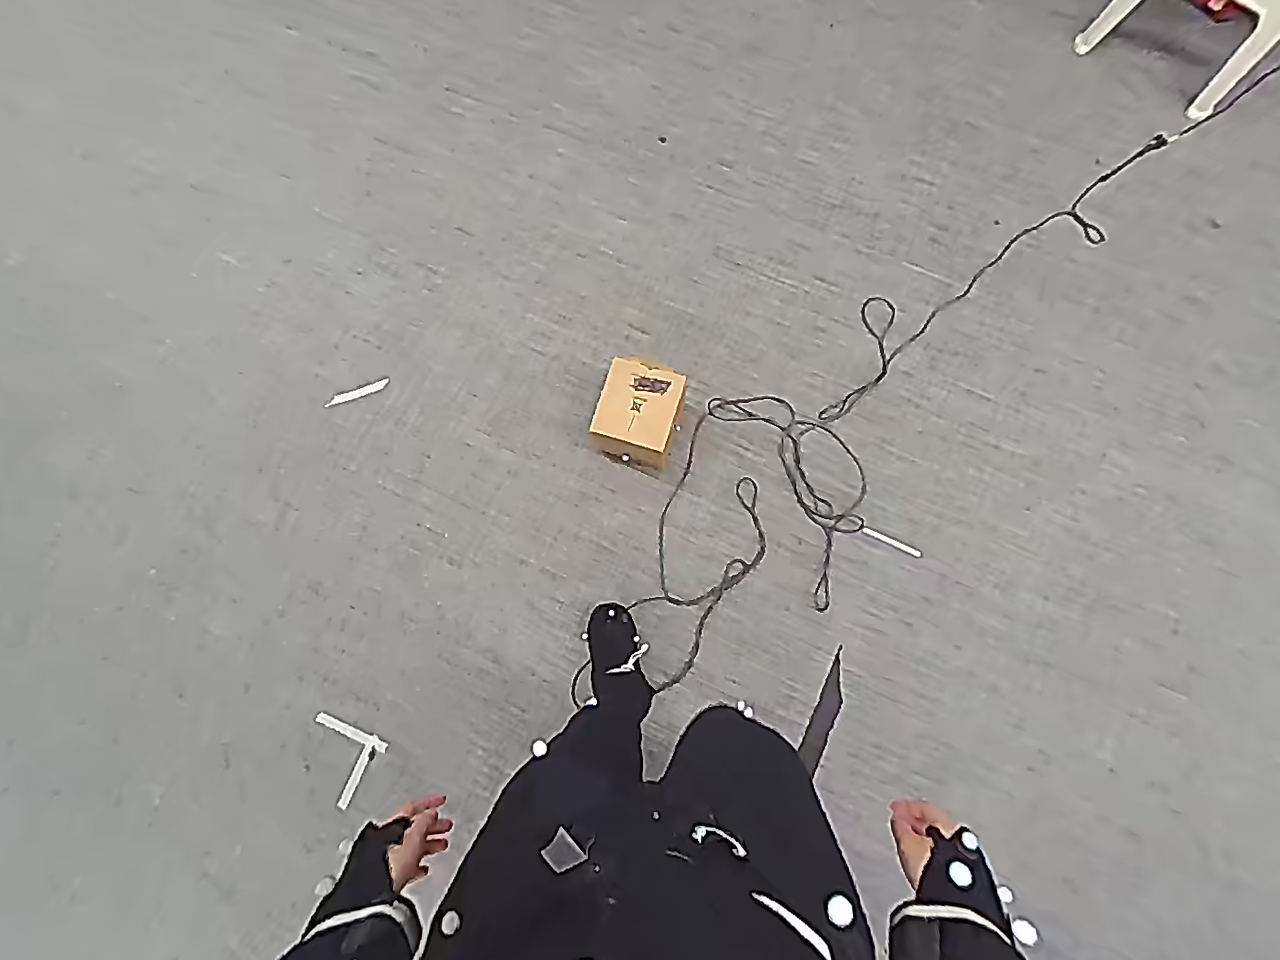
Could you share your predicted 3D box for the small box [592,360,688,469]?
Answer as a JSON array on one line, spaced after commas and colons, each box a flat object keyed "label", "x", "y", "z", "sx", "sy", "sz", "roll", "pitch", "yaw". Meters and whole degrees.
[{"label": "small box", "x": 0.003, "y": -0.141, "z": 1.223, "sx": 0.168, "sy": 0.176, "sz": 0.179, "roll": 17, "pitch": 81, "yaw": 6}]
